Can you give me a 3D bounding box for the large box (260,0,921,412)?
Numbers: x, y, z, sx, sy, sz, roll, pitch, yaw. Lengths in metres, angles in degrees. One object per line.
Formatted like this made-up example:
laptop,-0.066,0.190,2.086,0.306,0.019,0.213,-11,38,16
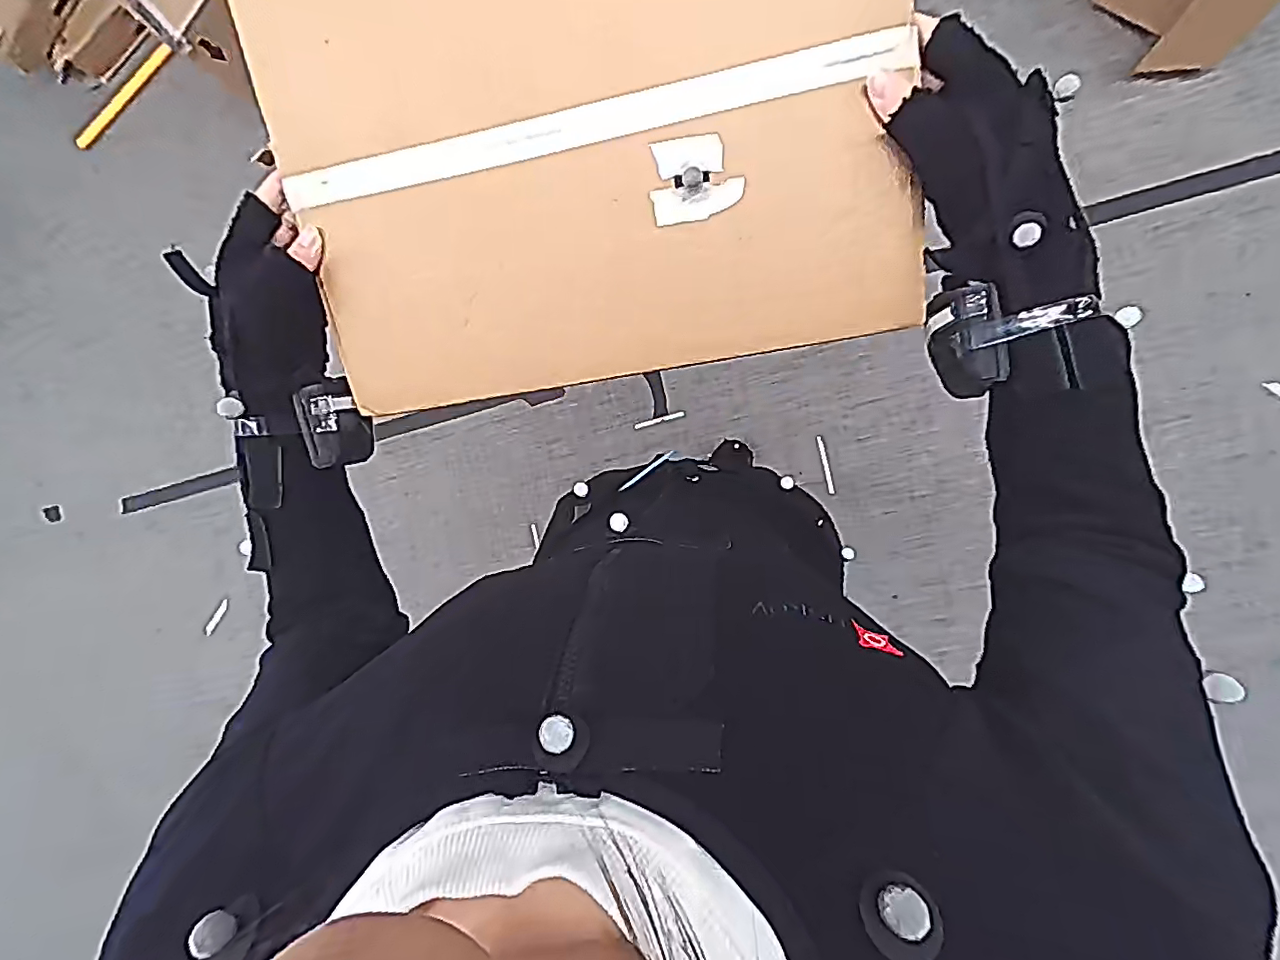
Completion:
large box,-0.020,-0.267,0.497,0.408,0.320,0.320,-9,106,7
